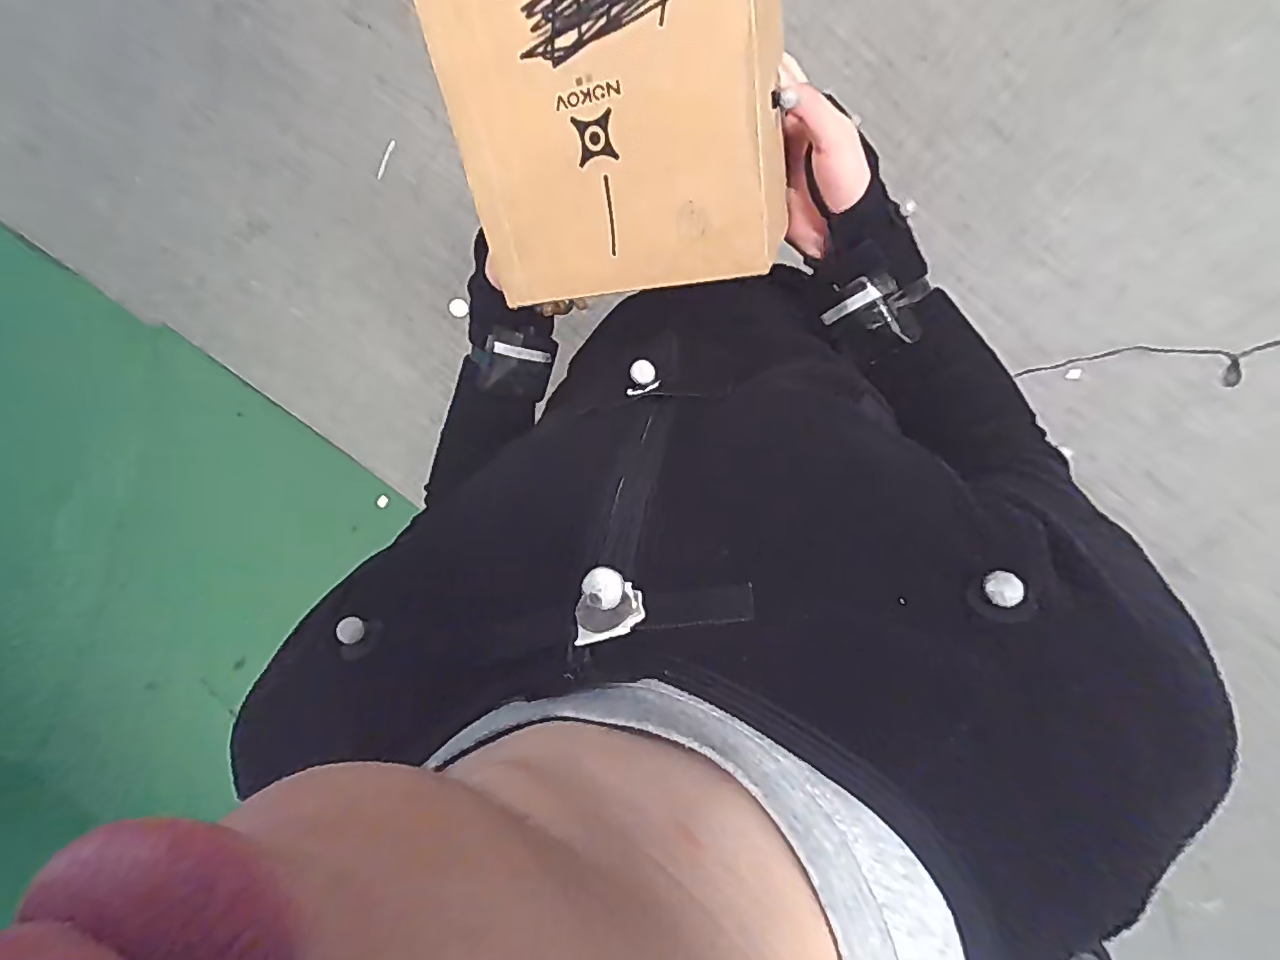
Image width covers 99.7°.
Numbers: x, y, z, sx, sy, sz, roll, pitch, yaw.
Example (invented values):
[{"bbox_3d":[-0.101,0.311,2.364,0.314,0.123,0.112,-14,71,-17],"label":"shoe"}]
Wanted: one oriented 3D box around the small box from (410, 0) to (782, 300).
[{"bbox_3d":[-0.004,-0.228,0.337,0.168,0.176,0.179,1,123,20],"label":"small box"}]
